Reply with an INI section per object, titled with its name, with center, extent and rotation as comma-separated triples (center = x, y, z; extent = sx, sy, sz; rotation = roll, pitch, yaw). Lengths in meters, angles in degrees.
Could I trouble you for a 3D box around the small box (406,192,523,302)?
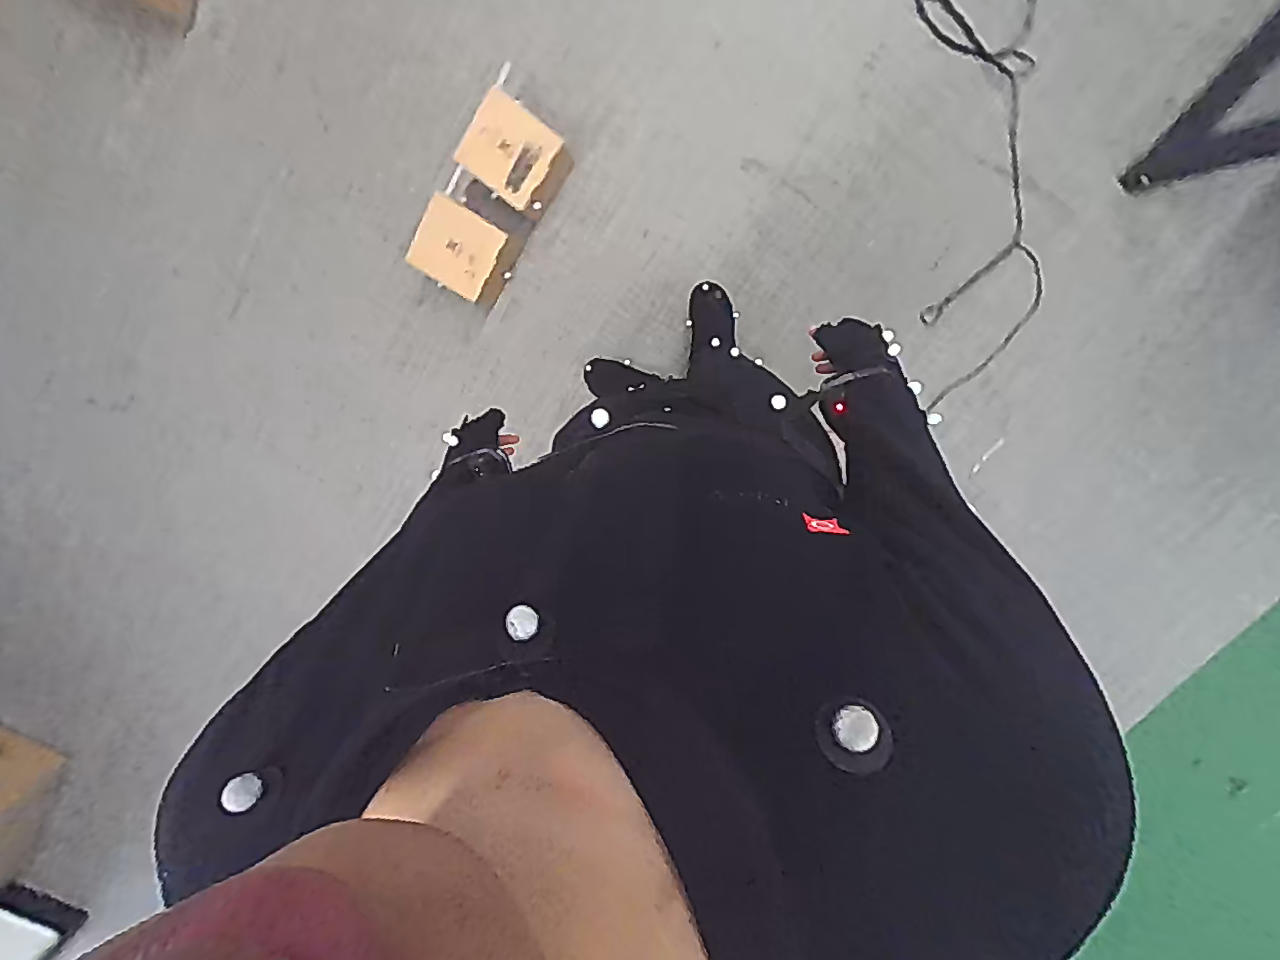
[small box]
center = -0.399, -0.526, 1.252
extent = 0.179, 0.176, 0.168
rotation = 30, 107, -8
